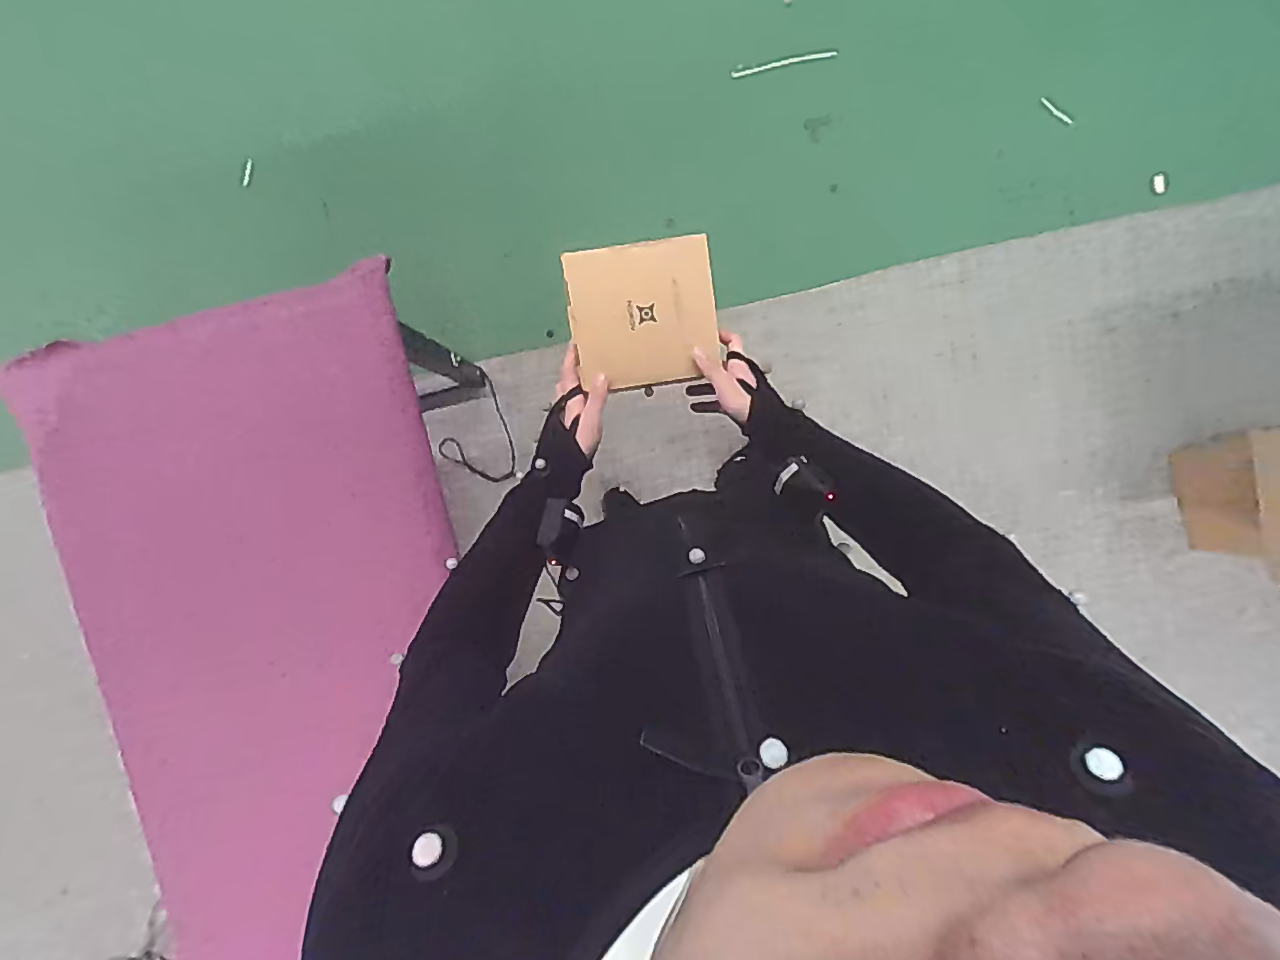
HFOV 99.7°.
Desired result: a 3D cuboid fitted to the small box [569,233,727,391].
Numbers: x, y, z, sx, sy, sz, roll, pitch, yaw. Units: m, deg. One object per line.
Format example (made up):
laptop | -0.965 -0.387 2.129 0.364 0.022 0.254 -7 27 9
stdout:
small box | 0.010 -0.210 0.720 0.179 0.176 0.168 -7 99 -1
